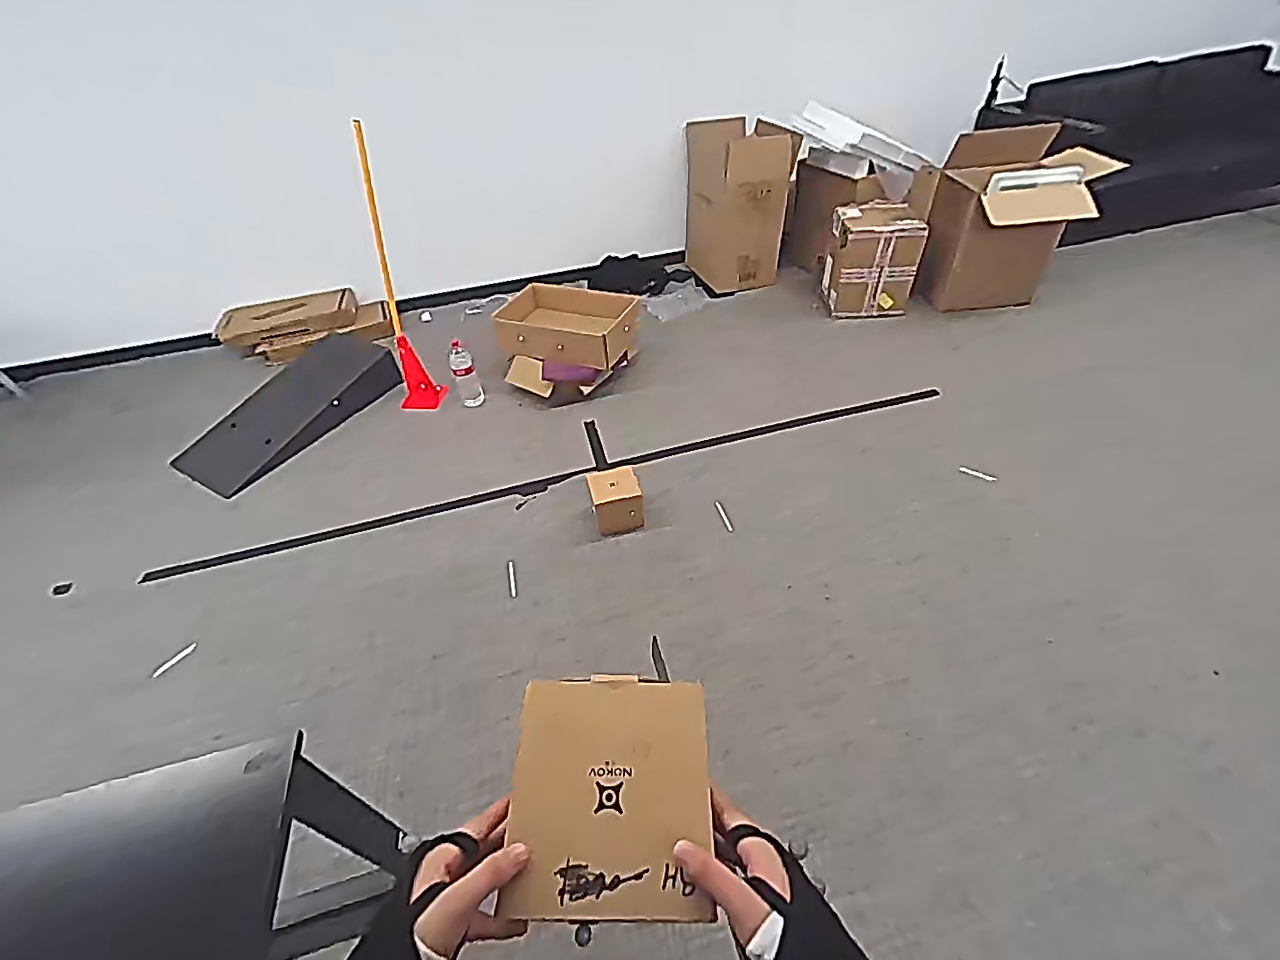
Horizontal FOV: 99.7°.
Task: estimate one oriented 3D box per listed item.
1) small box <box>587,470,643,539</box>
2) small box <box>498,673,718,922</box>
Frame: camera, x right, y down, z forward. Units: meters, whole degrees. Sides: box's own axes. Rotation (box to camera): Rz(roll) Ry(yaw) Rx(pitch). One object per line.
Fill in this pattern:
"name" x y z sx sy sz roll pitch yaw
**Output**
"small box" -0.089 0.094 2.015 0.179 0.176 0.168 -14 43 -8
"small box" -0.022 0.300 0.510 0.168 0.176 0.179 -1 49 1
